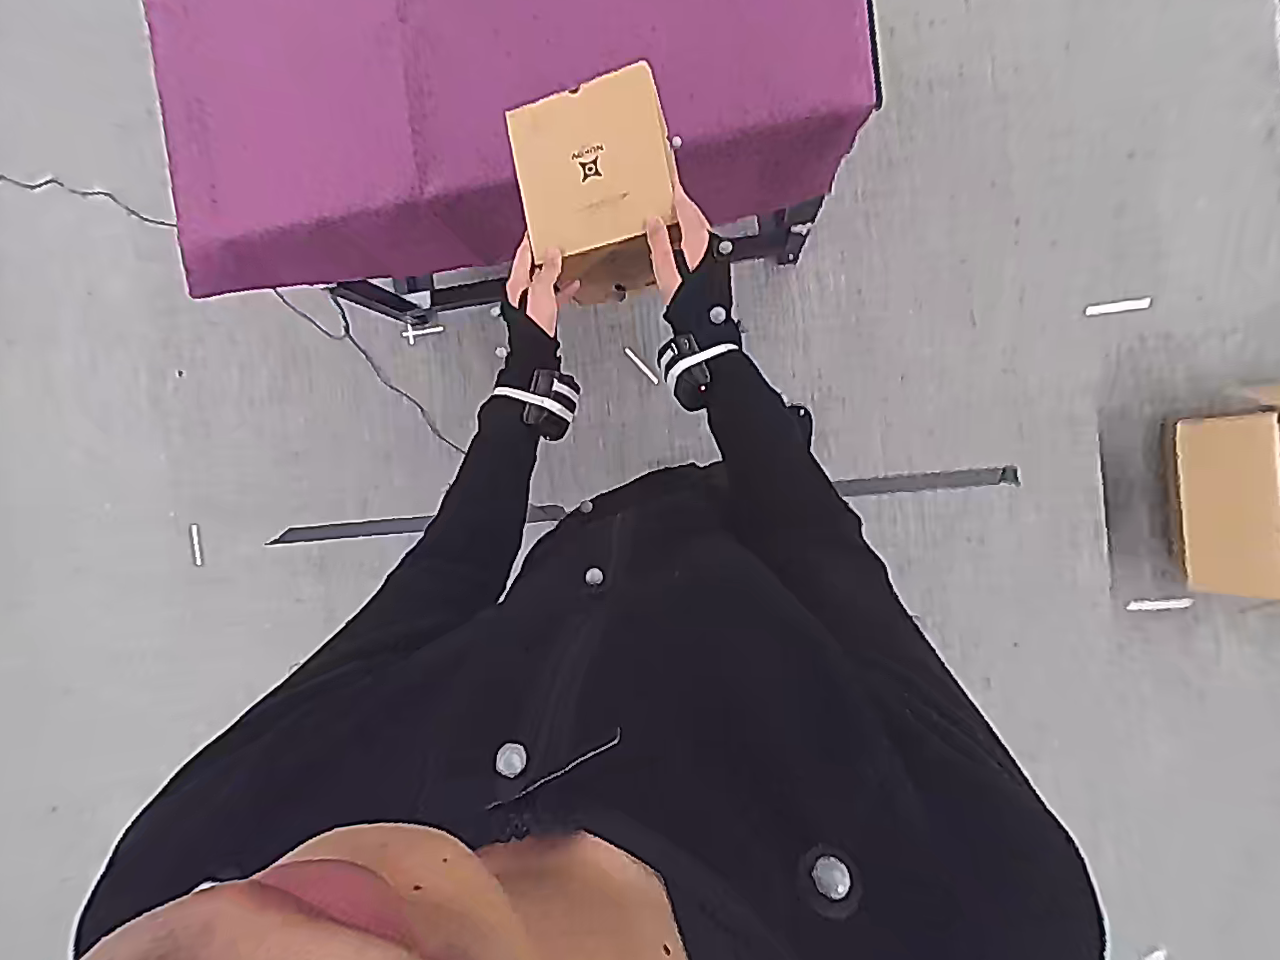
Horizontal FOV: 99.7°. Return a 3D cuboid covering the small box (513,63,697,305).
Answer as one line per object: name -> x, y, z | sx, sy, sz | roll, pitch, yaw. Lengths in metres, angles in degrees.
small box -> -0.032, -0.337, 0.654 | 0.168, 0.176, 0.179 | -10, 89, 13

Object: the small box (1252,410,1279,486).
small box -> 1.458, -0.073, 1.139 | 0.179, 0.176, 0.168 | -7, 93, 9
